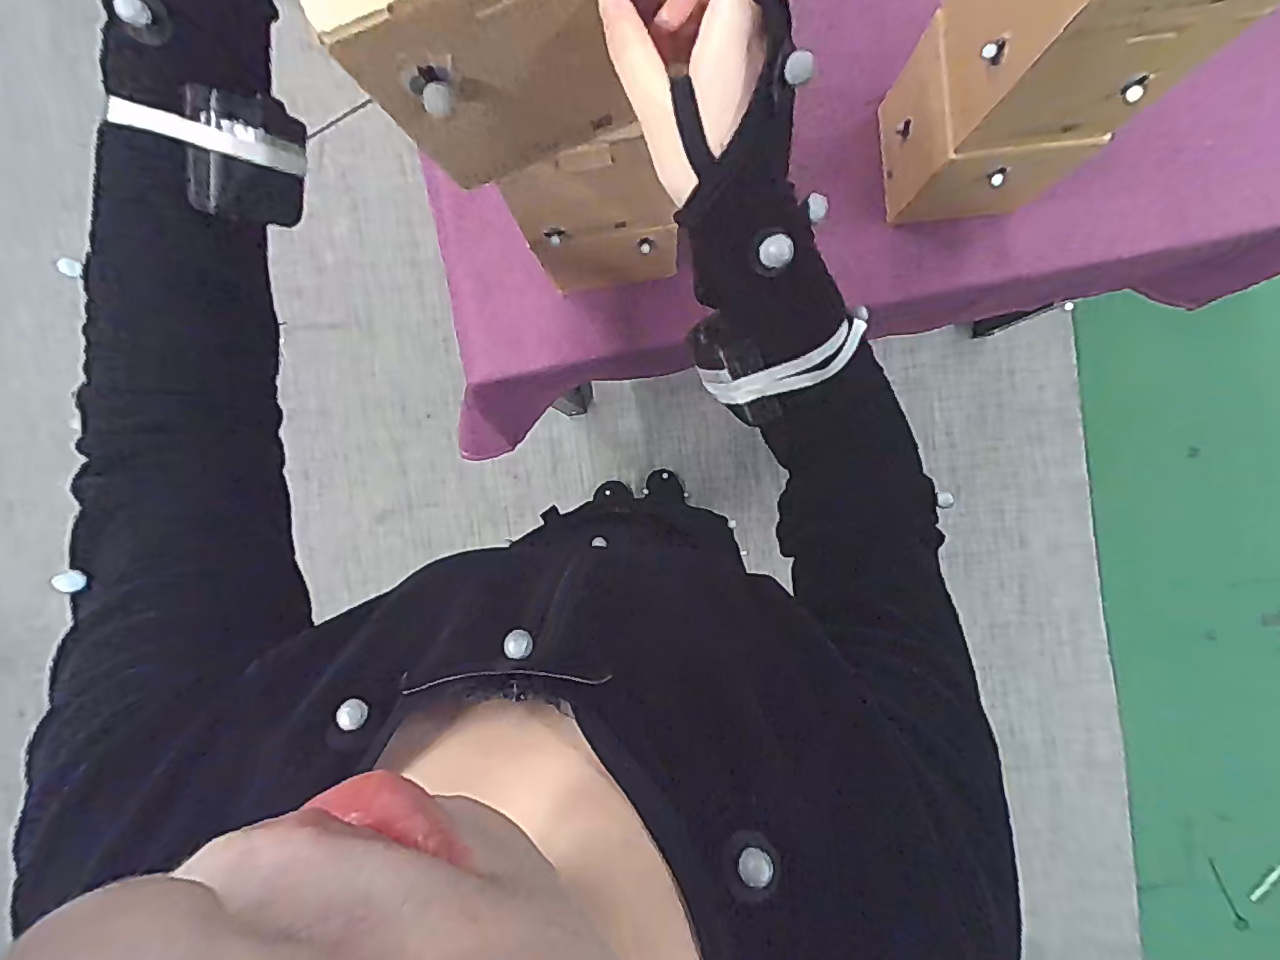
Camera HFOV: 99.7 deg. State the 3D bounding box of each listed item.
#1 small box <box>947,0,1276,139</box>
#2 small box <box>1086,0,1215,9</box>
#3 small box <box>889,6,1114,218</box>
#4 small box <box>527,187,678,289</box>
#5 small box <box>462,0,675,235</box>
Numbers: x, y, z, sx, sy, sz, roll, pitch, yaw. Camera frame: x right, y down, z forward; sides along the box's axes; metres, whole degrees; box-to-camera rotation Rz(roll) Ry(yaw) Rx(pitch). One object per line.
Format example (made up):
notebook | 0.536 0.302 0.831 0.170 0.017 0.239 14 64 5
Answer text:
small box | 0.413 -0.448 0.502 0.168 0.176 0.179 -4 90 3
small box | 0.401 -0.444 0.338 0.168 0.176 0.179 -5 92 2
small box | 0.423 -0.443 0.665 0.179 0.176 0.168 -4 92 3
small box | -0.047 -0.361 0.694 0.179 0.176 0.168 -9 91 3
small box | -0.057 -0.362 0.530 0.168 0.176 0.179 -9 90 2
